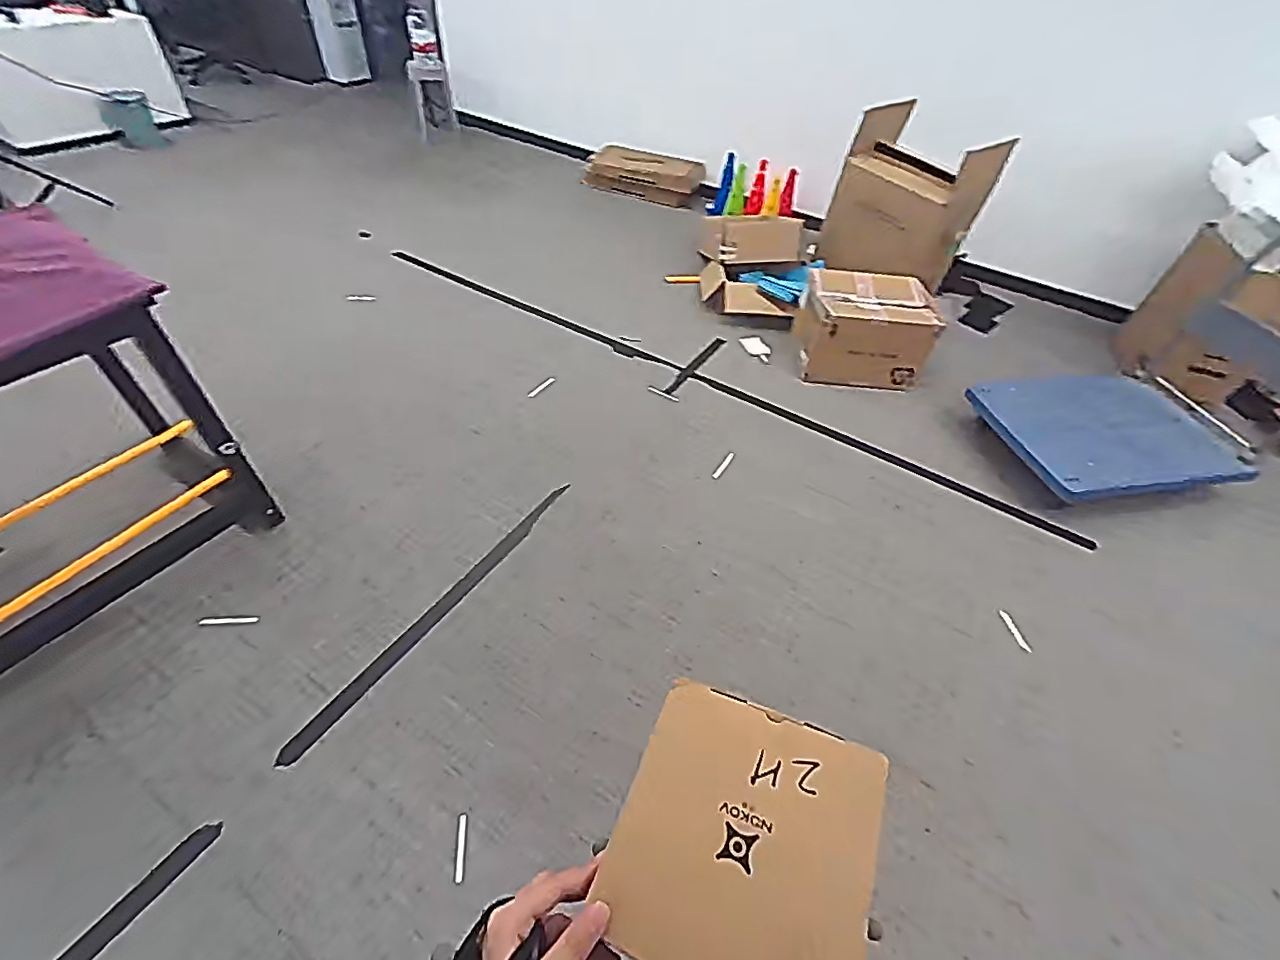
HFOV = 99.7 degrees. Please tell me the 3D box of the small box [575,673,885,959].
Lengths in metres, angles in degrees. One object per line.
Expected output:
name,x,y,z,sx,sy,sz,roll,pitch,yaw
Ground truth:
small box,0.074,0.288,0.416,0.168,0.176,0.179,14,49,20
